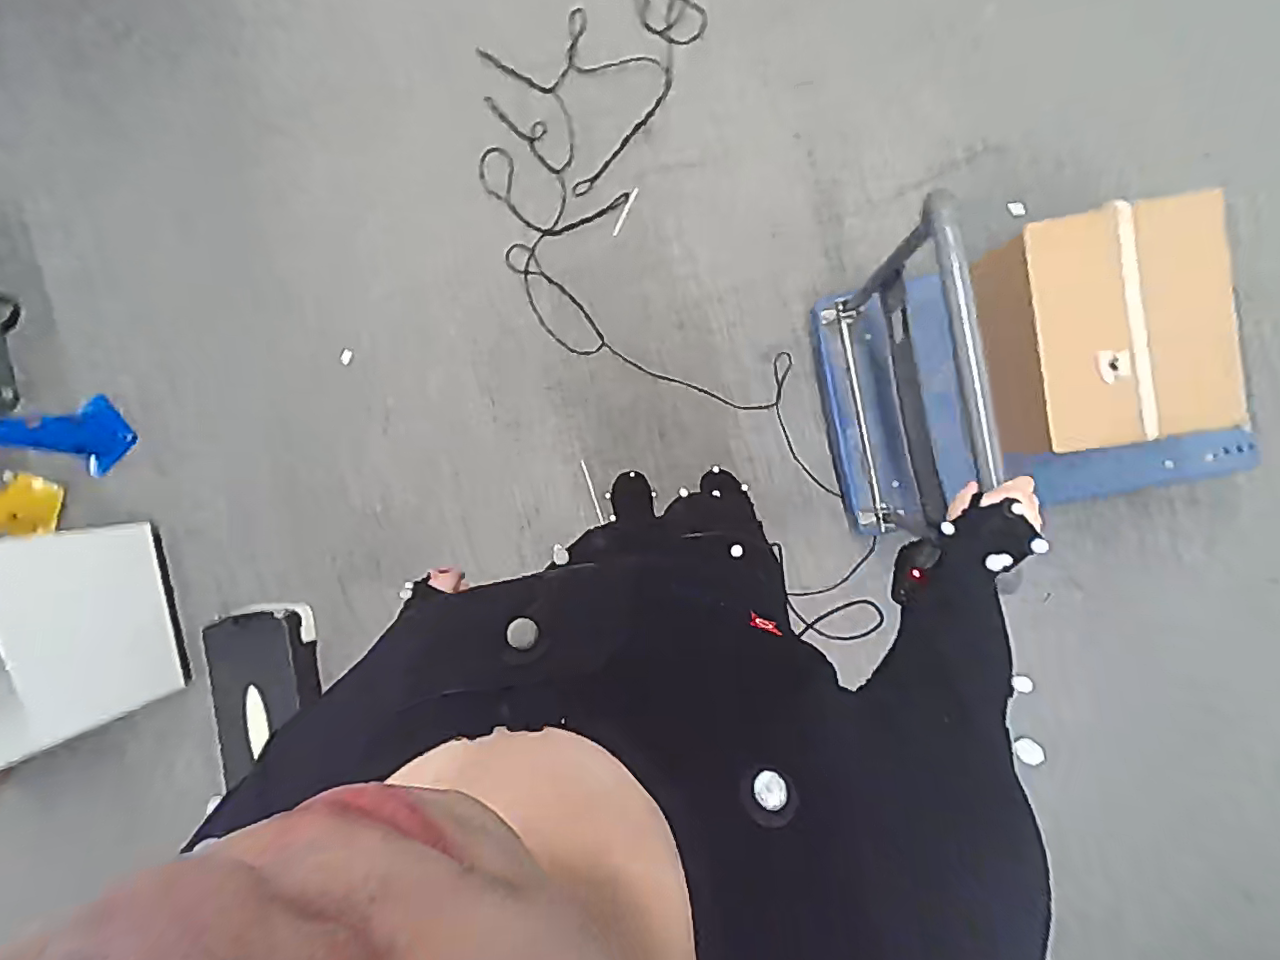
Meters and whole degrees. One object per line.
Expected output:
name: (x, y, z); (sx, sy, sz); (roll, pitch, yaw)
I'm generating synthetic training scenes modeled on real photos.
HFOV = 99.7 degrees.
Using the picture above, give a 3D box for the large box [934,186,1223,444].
large box: (0.848, -0.297, 1.098); (0.320, 0.320, 0.408); (-9, 93, 7)
